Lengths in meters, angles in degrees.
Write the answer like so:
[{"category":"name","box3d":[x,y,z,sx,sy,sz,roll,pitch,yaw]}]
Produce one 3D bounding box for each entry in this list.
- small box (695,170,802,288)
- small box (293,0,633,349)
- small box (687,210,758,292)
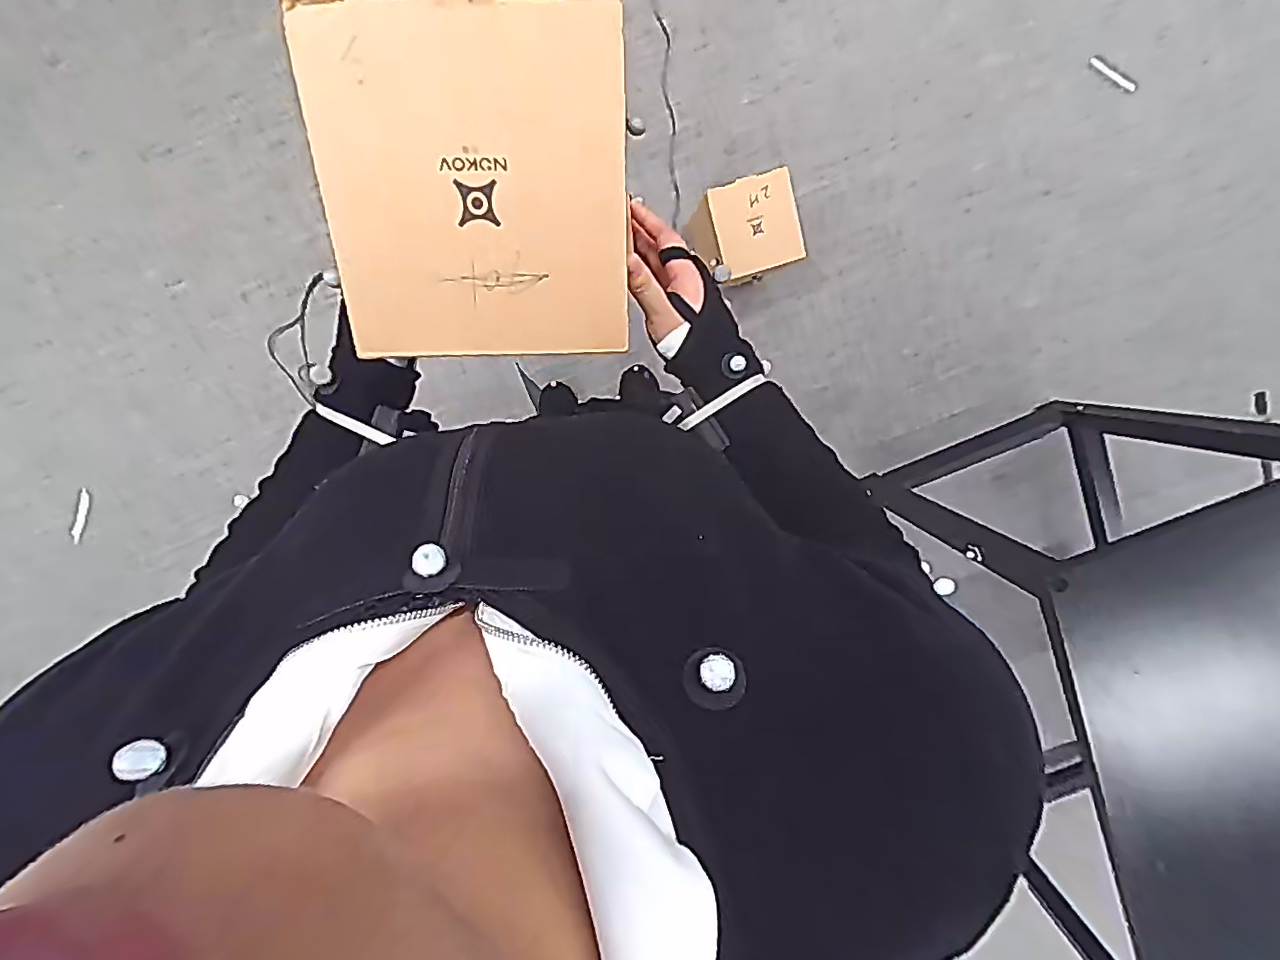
[{"category":"small box","box3d":[0.223,-0.518,1.147,0.168,0.176,0.179,-17,102,1]},{"category":"small box","box3d":[-0.092,-0.192,0.369,0.168,0.176,0.179,-1,115,-3]},{"category":"small box","box3d":[0.220,-0.564,1.305,0.179,0.176,0.168,-13,102,2]}]
